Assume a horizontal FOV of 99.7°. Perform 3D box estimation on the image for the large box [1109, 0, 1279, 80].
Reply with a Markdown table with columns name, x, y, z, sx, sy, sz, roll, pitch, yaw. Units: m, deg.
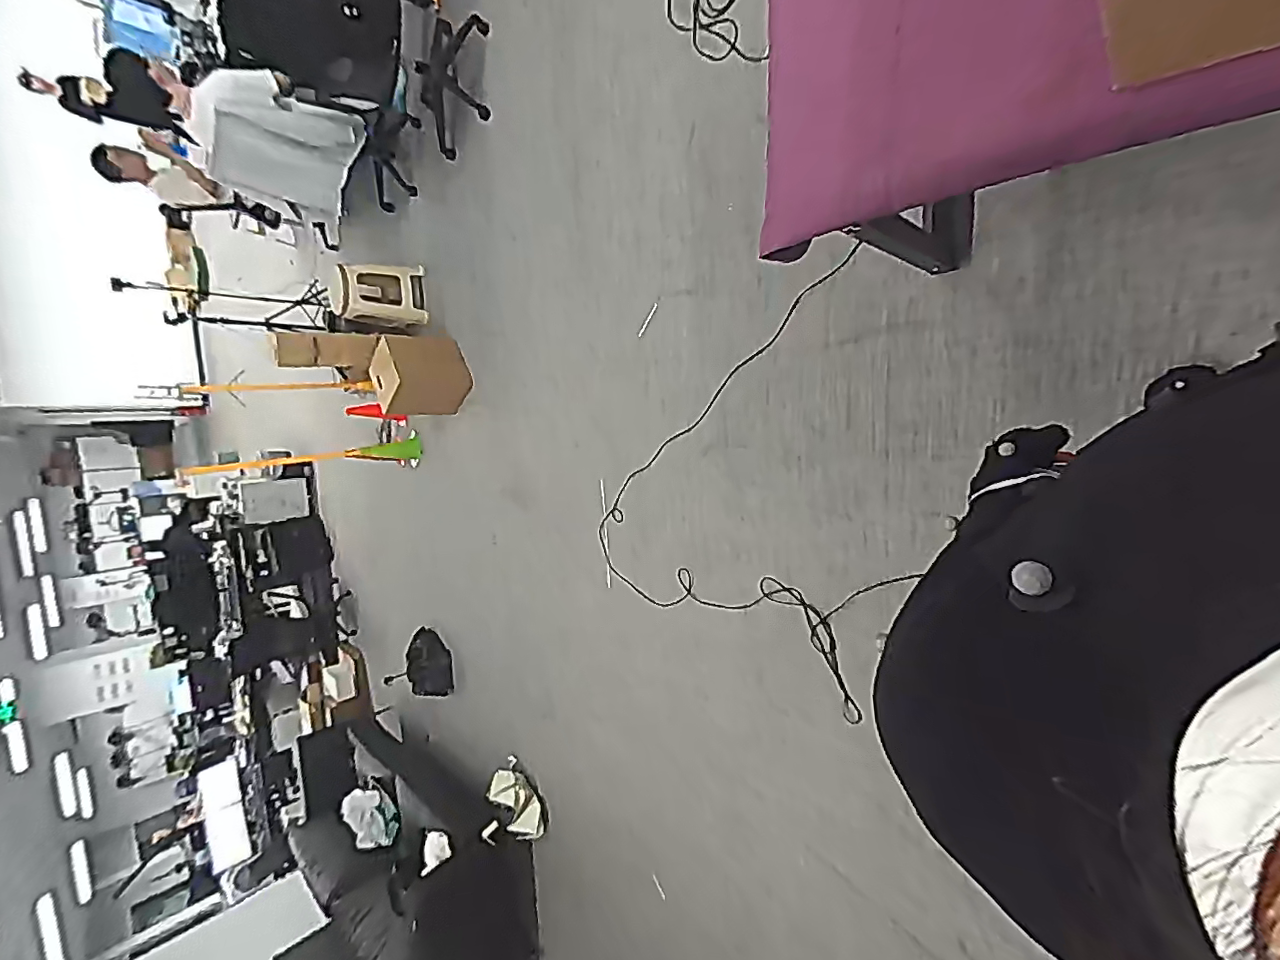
| name | x | y | z | sx | sy | sz | roll | pitch | yaw |
| --- | --- | --- | --- | --- | --- | --- | --- | --- | --- |
| large box | 0.510 | -0.578 | 0.330 | 0.320 | 0.320 | 0.408 | 9 | 102 | 44 |
